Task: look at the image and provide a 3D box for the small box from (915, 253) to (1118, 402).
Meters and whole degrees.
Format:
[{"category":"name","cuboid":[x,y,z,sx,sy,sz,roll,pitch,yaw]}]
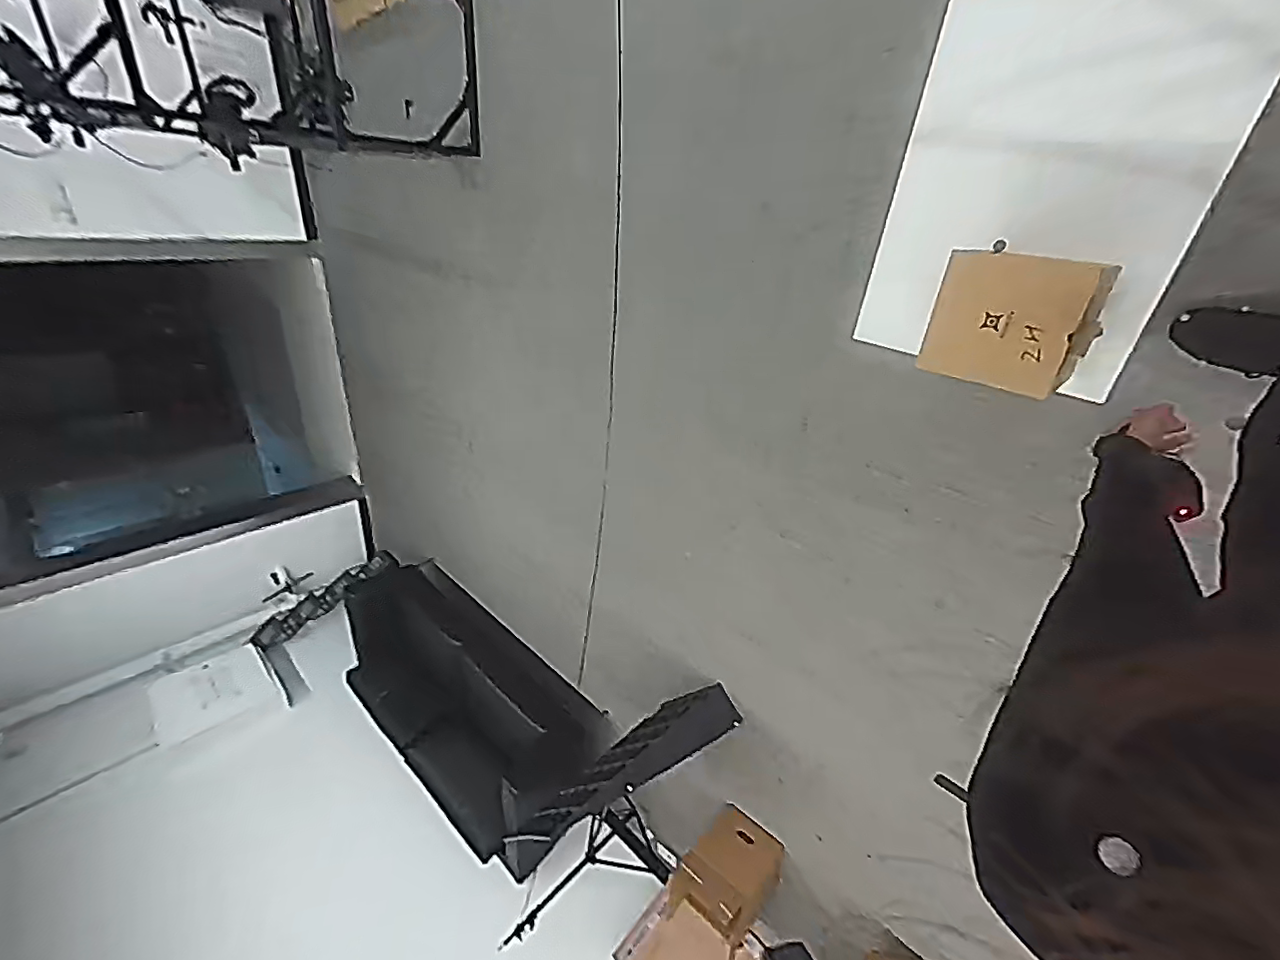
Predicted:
[{"category":"small box","cuboid":[0.537,-0.228,0.778,0.179,0.176,0.168,29,127,37]}]
